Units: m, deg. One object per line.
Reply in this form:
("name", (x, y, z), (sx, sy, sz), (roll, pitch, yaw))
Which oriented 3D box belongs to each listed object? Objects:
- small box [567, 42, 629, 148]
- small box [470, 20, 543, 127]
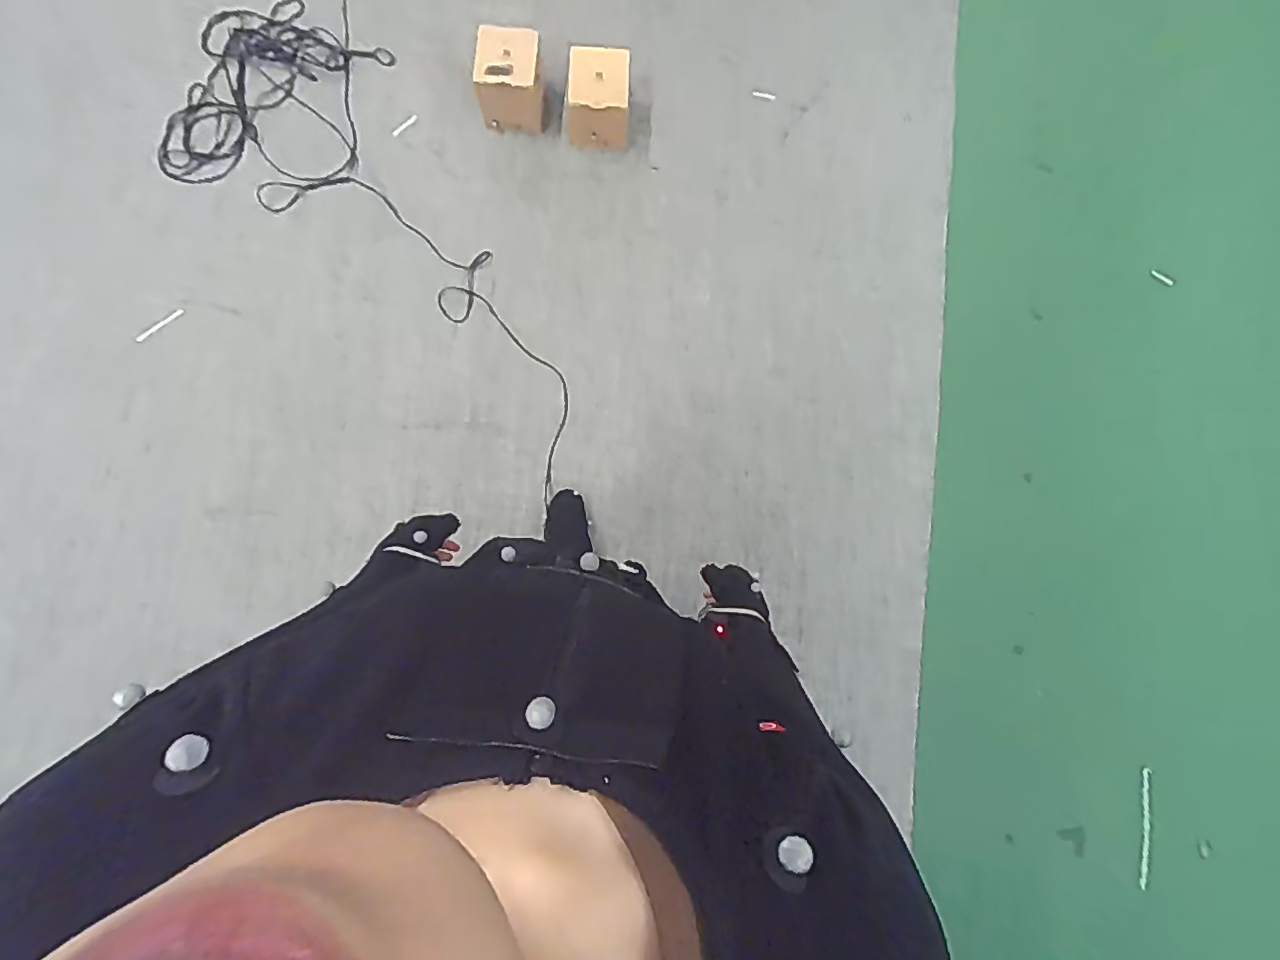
("small box", (-0.119, -1.091, 1.540), (0.168, 0.176, 0.179), (1, 85, -3))
("small box", (-0.370, -1.139, 1.528), (0.168, 0.176, 0.179), (4, 83, -3))
